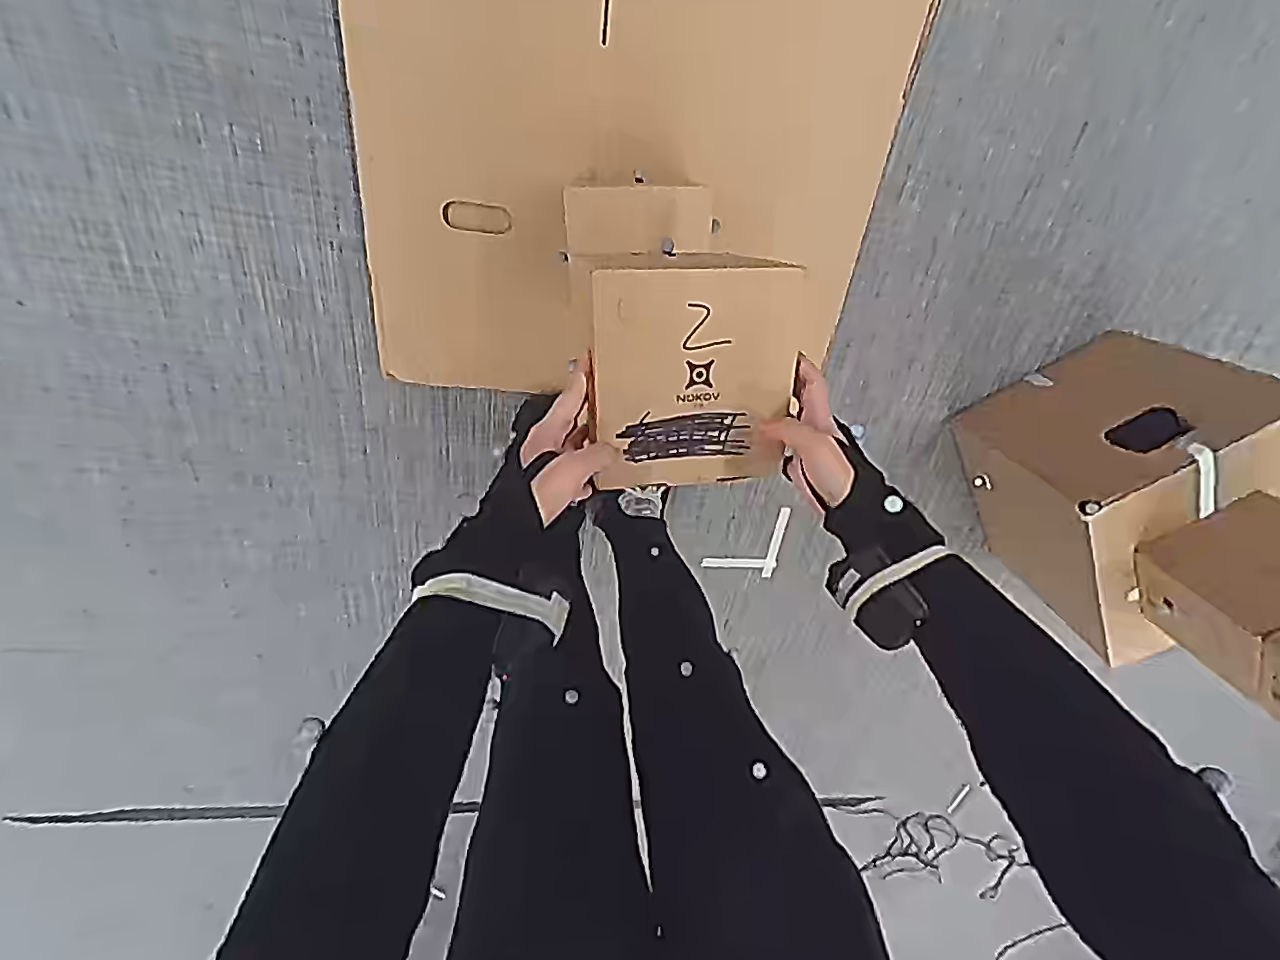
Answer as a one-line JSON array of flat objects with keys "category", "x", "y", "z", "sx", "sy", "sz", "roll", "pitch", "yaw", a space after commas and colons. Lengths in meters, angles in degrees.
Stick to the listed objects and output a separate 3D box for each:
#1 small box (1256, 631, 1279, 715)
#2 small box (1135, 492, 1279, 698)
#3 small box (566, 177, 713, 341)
[{"category": "small box", "x": 0.844, "y": 0.228, "z": 0.580, "sx": 0.179, "sy": 0.176, "sz": 0.168, "roll": -31, "pitch": 120, "yaw": 10}, {"category": "small box", "x": 0.823, "y": 0.146, "z": 0.720, "sx": 0.179, "sy": 0.176, "sz": 0.168, "roll": -31, "pitch": 120, "yaw": 11}, {"category": "small box", "x": -0.008, "y": -0.289, "z": 0.695, "sx": 0.168, "sy": 0.176, "sz": 0.179, "roll": -3, "pitch": 121, "yaw": -3}]
